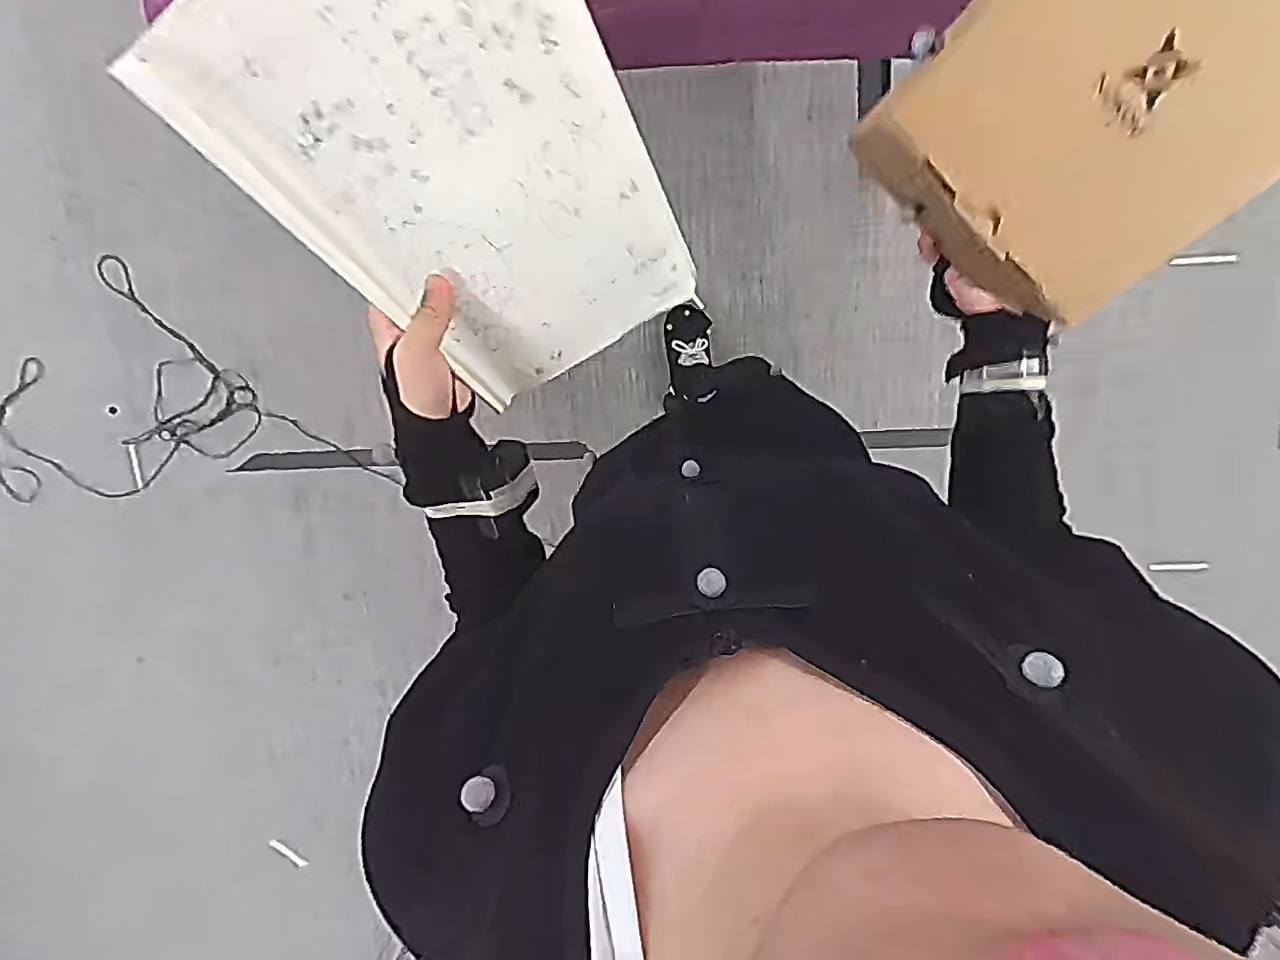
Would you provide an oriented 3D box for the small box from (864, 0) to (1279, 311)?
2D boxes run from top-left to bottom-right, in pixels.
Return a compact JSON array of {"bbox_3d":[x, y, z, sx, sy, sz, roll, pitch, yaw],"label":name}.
[{"bbox_3d":[0.264,-0.237,0.324,0.168,0.176,0.179,41,119,-10],"label":"small box"}]

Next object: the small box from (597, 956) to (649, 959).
[{"bbox_3d":[-0.035,1.364,1.379,0.168,0.176,0.179,-6,102,4],"label":"small box"}]
